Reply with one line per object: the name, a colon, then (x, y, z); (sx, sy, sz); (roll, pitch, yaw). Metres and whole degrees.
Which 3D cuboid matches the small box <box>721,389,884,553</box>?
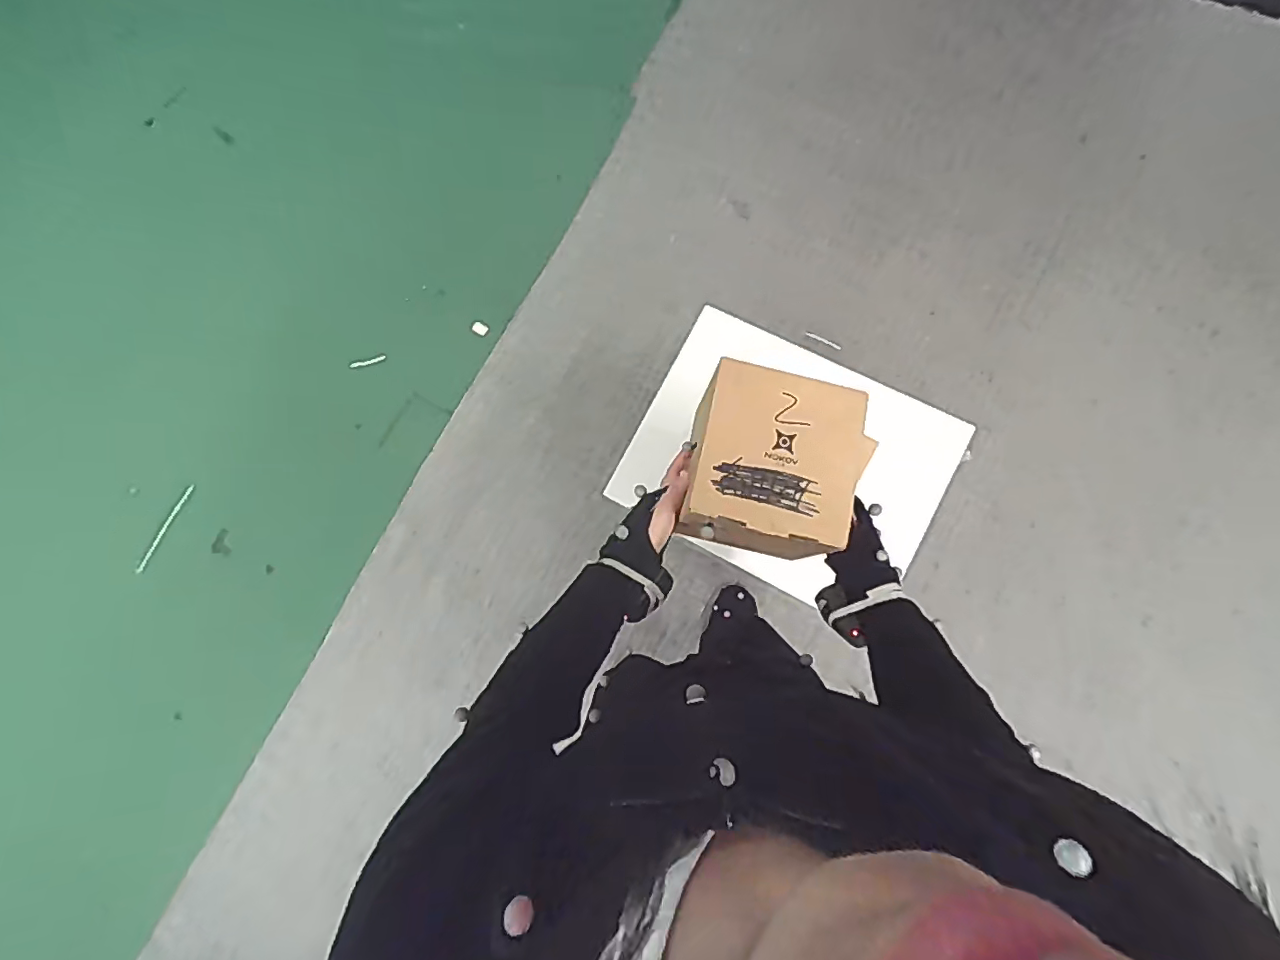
small box: (0.232, -0.005, 0.822); (0.168, 0.176, 0.179); (29, 84, 10)
